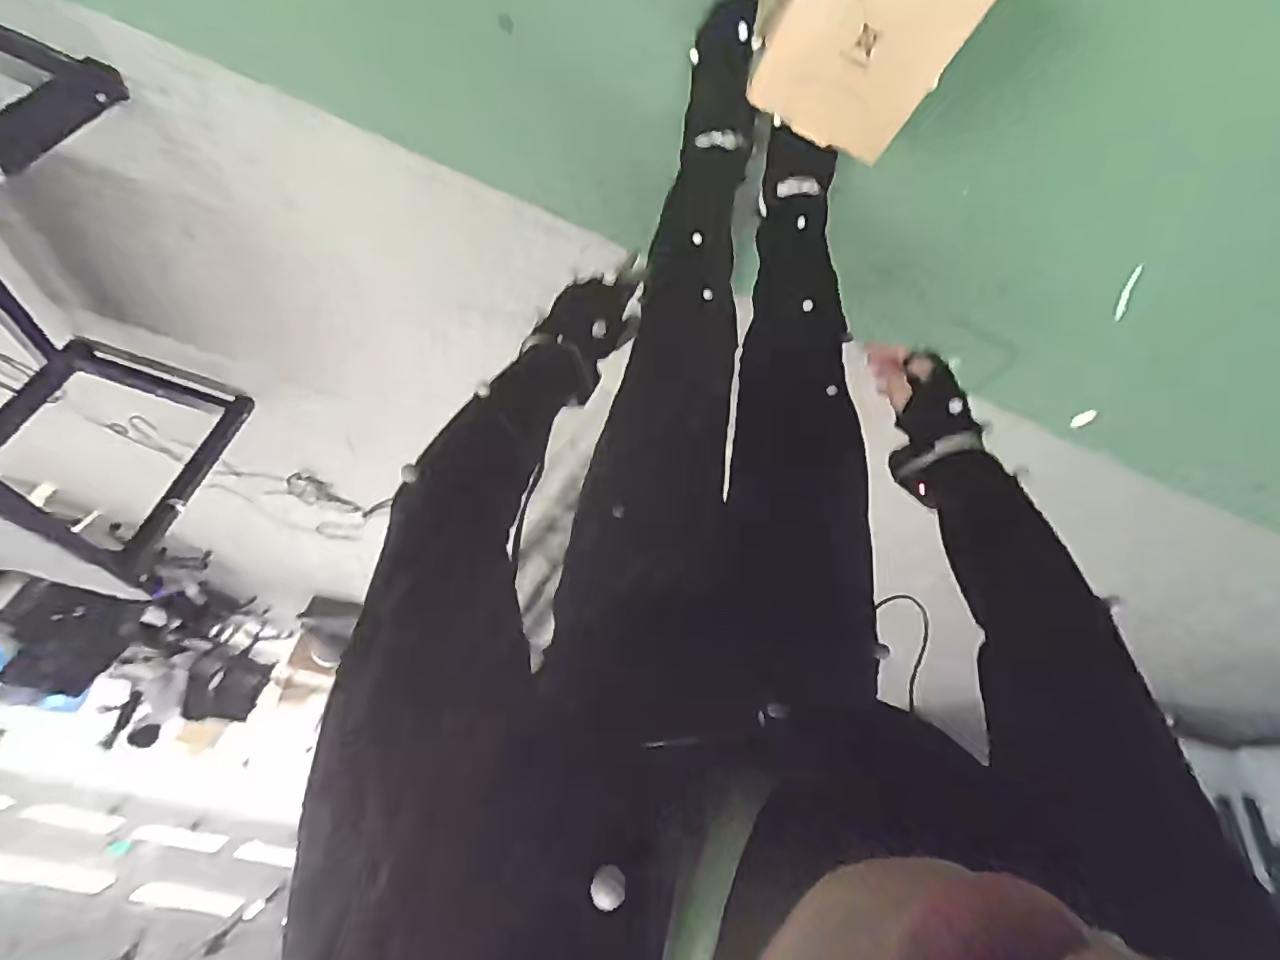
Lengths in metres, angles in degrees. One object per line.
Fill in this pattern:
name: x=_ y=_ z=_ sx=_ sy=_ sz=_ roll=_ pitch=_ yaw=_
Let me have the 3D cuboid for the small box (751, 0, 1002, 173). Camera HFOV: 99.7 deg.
small box: x=0.232 y=-0.481 z=0.573 sx=0.168 sy=0.176 sz=0.179 roll=19 pitch=146 yaw=-12
